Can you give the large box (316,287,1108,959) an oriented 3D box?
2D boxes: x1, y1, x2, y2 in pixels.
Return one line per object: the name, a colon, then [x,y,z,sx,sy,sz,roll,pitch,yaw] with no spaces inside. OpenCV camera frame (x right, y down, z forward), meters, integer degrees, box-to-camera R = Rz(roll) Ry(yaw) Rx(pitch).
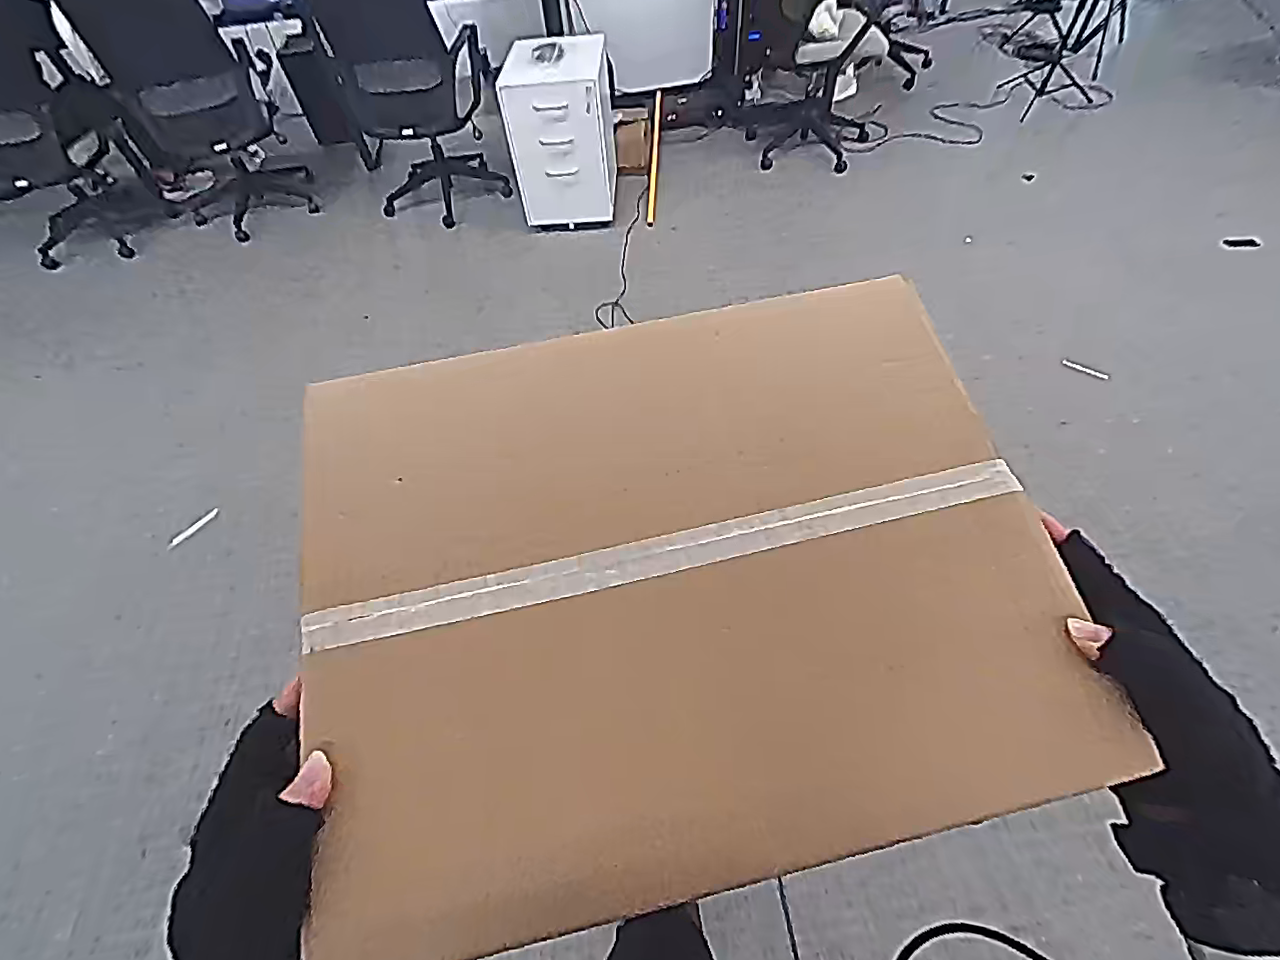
large box: [0.019,0.097,0.452,0.408,0.320,0.320,-12,68,-4]
